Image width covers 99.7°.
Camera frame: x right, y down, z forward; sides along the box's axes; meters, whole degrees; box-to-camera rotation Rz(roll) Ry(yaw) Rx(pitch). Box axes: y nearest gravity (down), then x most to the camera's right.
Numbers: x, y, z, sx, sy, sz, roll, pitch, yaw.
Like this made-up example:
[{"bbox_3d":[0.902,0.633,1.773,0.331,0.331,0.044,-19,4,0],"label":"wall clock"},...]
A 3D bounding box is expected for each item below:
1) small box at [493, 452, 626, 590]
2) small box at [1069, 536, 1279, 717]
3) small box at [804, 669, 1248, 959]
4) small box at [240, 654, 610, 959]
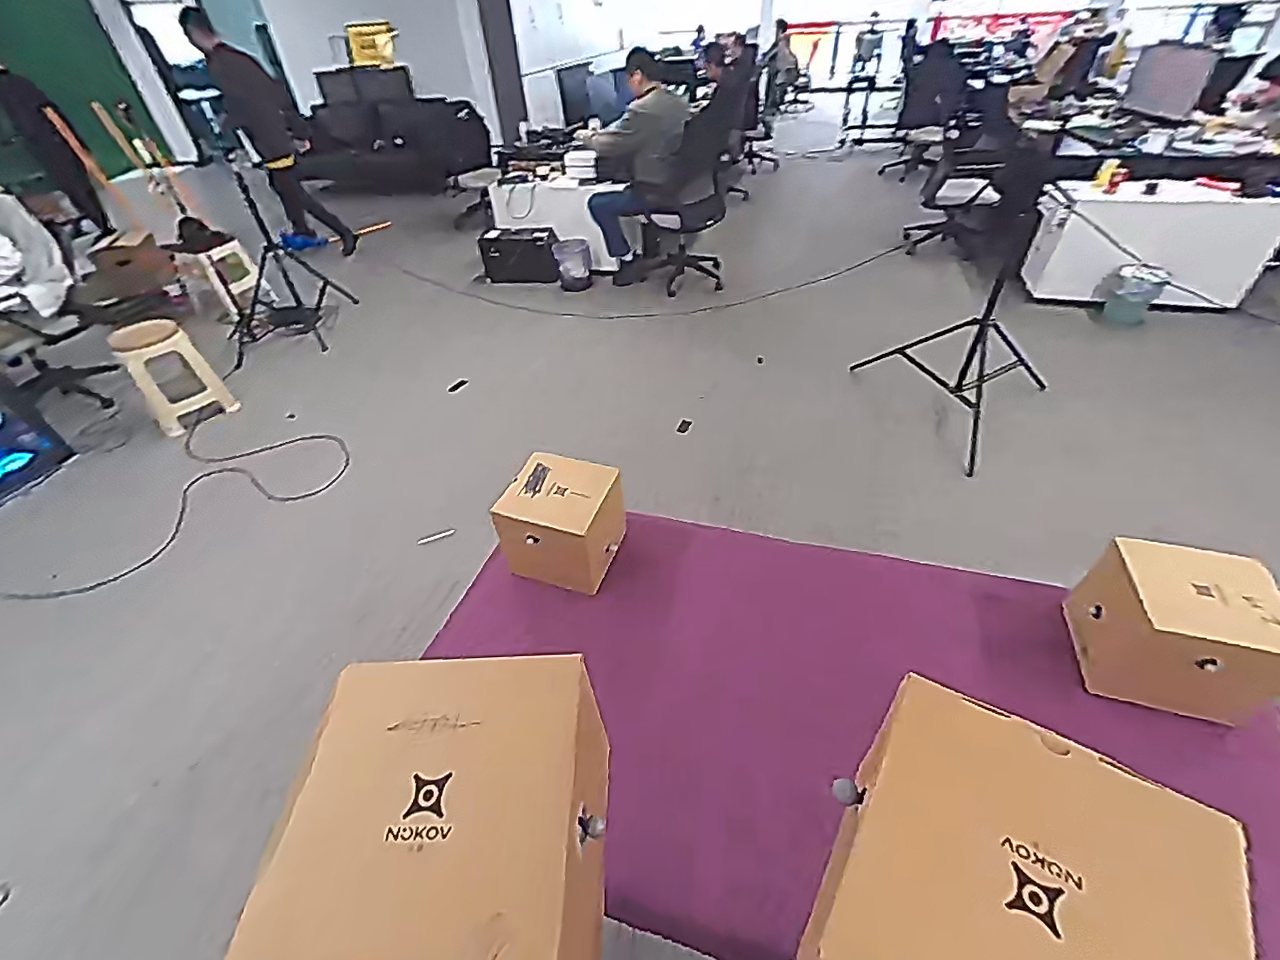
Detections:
[{"bbox_3d":[-0.136,0.076,0.986,0.179,0.176,0.168,12,46,16],"label":"small box"},{"bbox_3d":[0.751,0.207,0.767,0.179,0.176,0.168,11,44,15],"label":"small box"},{"bbox_3d":[0.210,0.261,0.330,0.168,0.176,0.179,20,49,27],"label":"small box"},{"bbox_3d":[-0.110,0.240,0.364,0.168,0.176,0.179,-3,44,1],"label":"small box"}]
